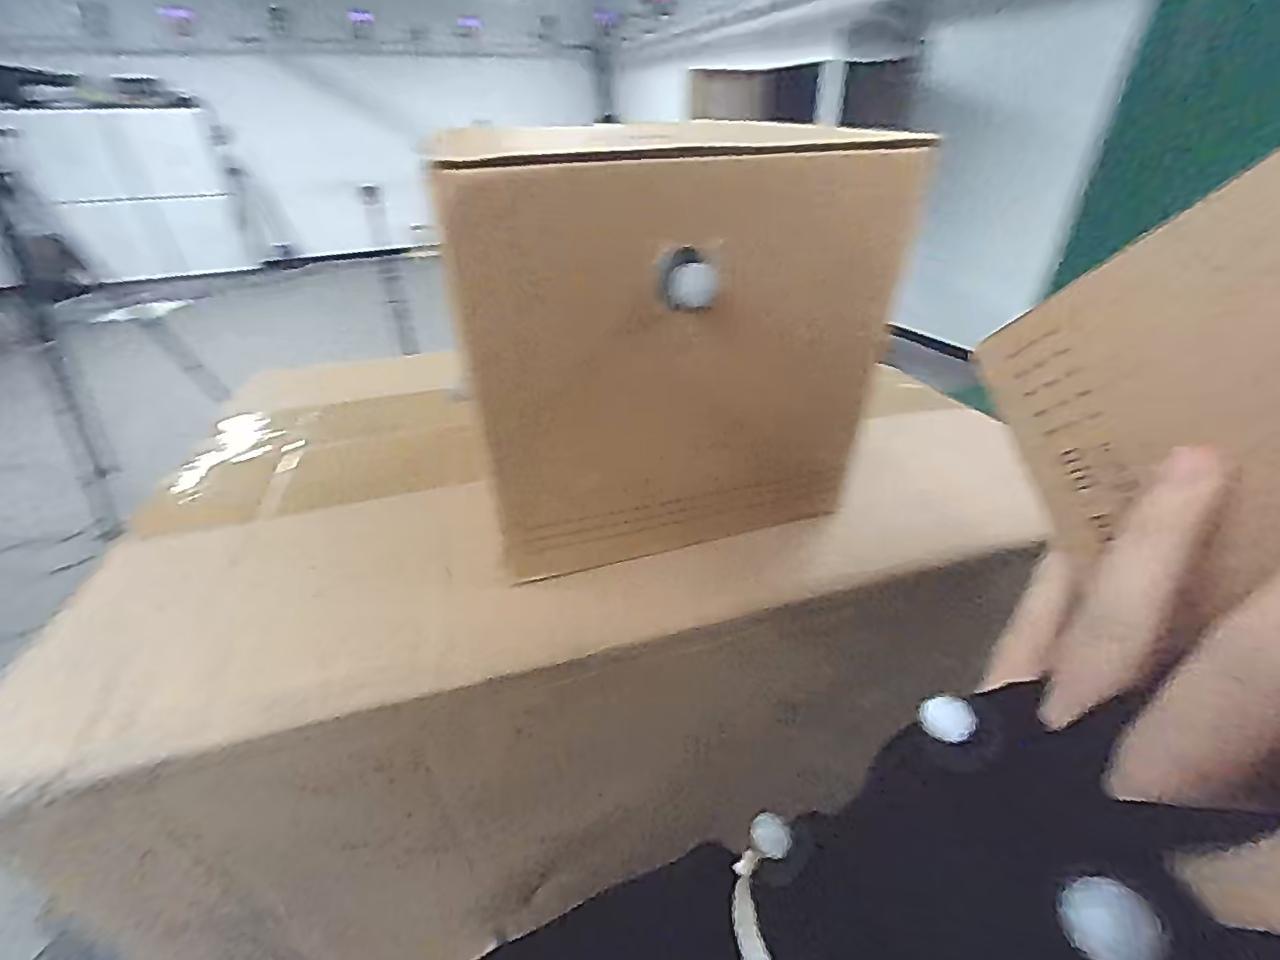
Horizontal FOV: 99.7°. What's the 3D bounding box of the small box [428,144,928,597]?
[{"bbox_3d":[0.000,-0.067,0.280,0.179,0.176,0.168,-12,36,-14],"label":"small box"}]
